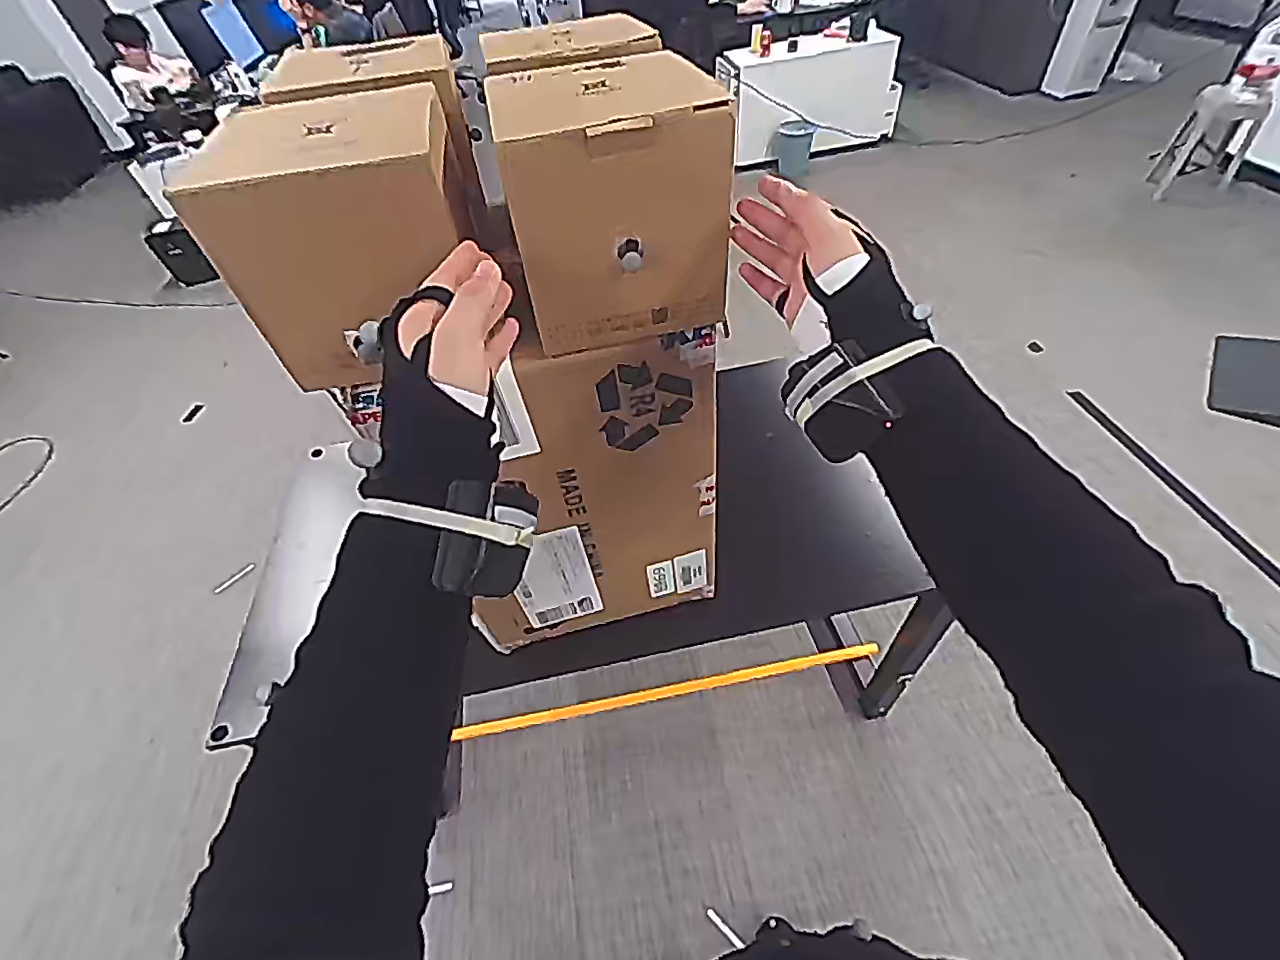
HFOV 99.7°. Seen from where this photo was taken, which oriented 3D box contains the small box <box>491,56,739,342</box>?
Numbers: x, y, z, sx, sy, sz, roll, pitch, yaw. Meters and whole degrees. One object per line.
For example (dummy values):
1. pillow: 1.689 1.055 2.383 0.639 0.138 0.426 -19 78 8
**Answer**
1. small box: -0.024 -0.235 0.468 0.168 0.176 0.179 -11 50 -7
